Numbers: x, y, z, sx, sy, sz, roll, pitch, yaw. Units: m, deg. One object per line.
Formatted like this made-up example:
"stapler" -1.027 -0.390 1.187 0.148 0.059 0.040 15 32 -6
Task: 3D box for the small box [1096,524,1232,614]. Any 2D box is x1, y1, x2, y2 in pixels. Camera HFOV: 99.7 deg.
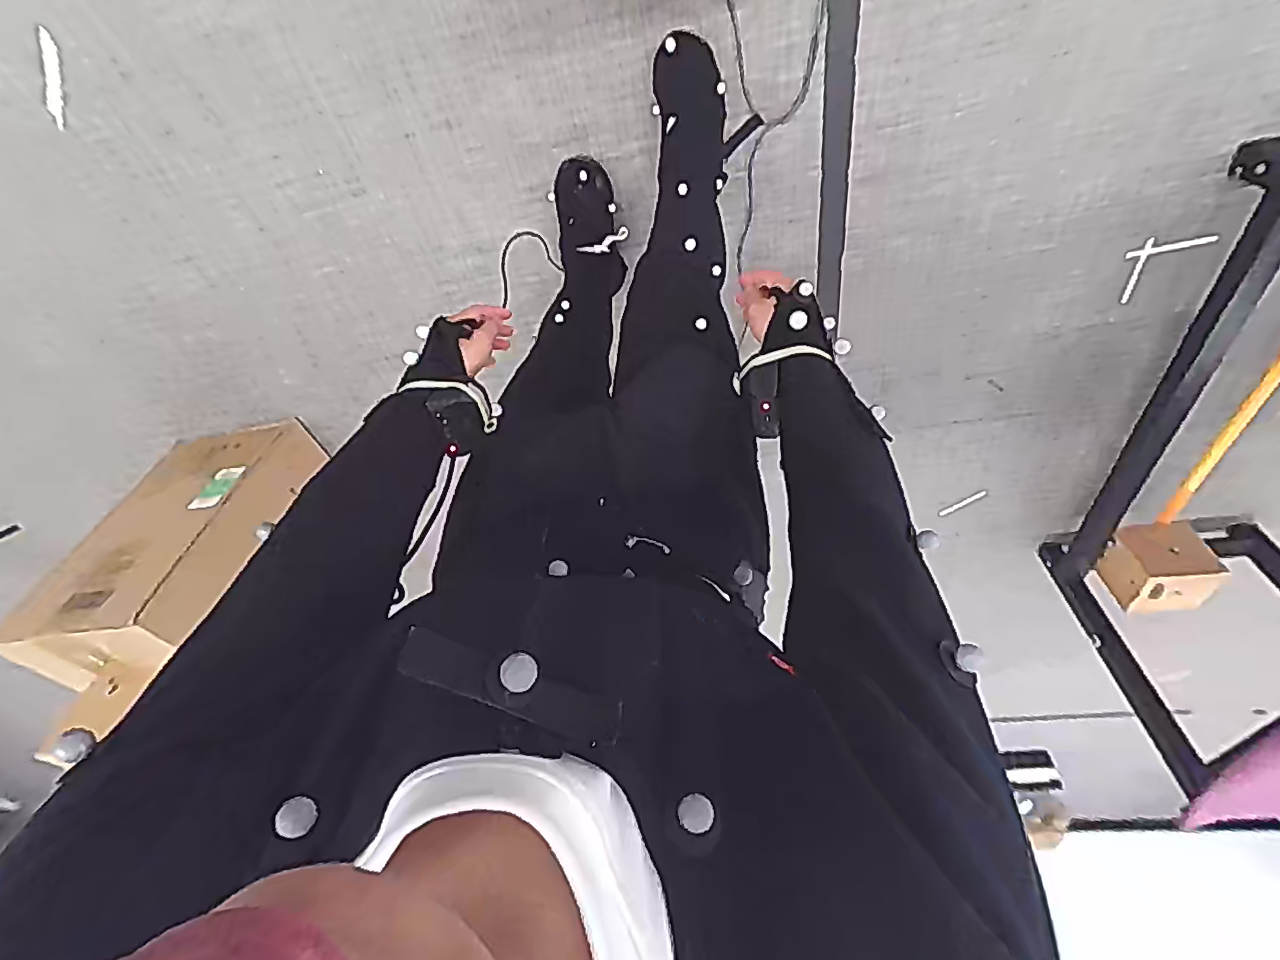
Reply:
"small box" 1.373 0.236 1.437 0.179 0.176 0.168 -7 133 9
